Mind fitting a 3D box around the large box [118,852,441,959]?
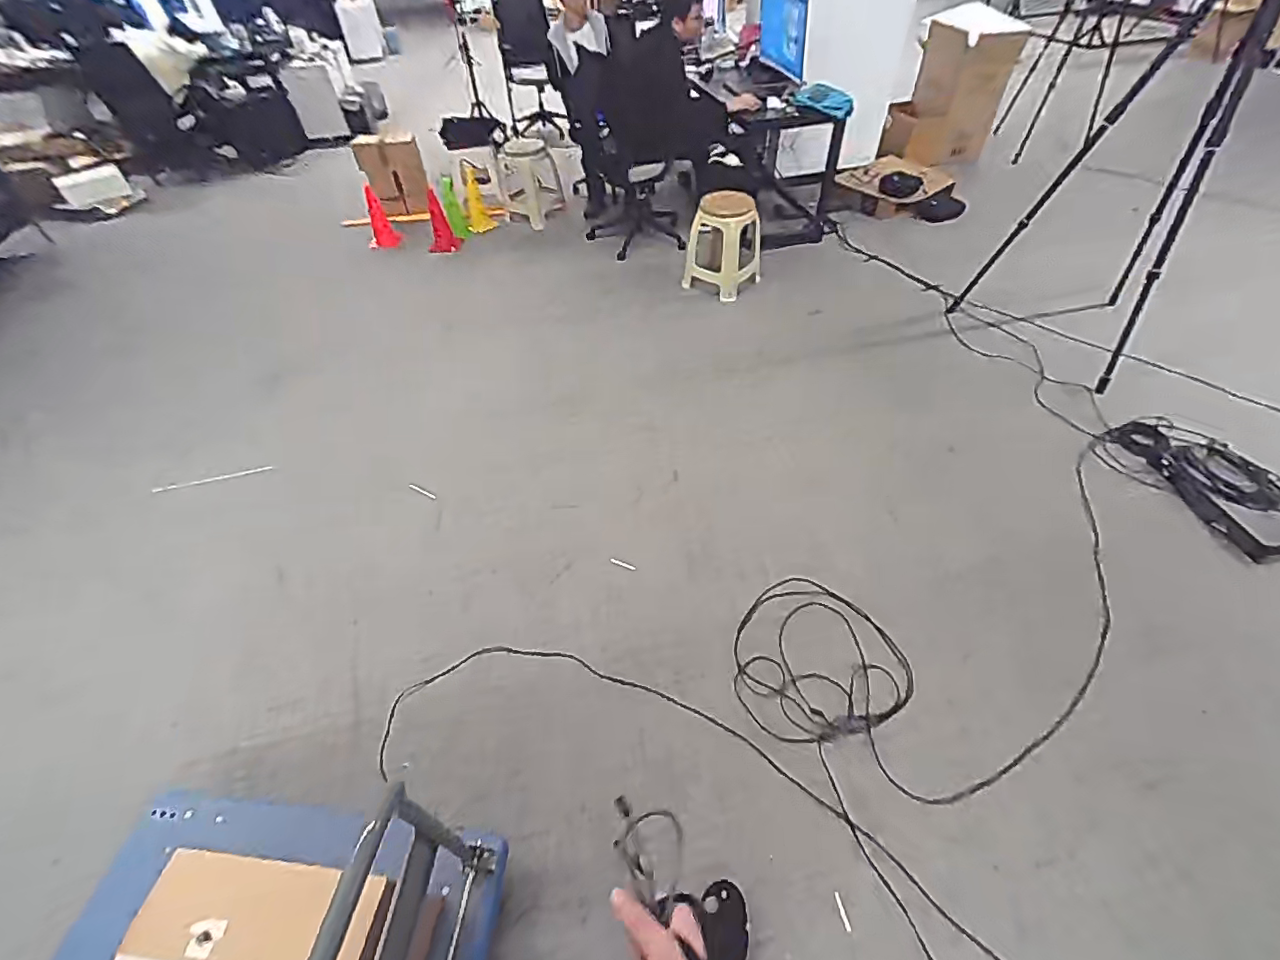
[{"bbox_3d":[-0.633,0.882,0.954,0.408,0.320,0.320,3,48,7],"label":"large box"}]
